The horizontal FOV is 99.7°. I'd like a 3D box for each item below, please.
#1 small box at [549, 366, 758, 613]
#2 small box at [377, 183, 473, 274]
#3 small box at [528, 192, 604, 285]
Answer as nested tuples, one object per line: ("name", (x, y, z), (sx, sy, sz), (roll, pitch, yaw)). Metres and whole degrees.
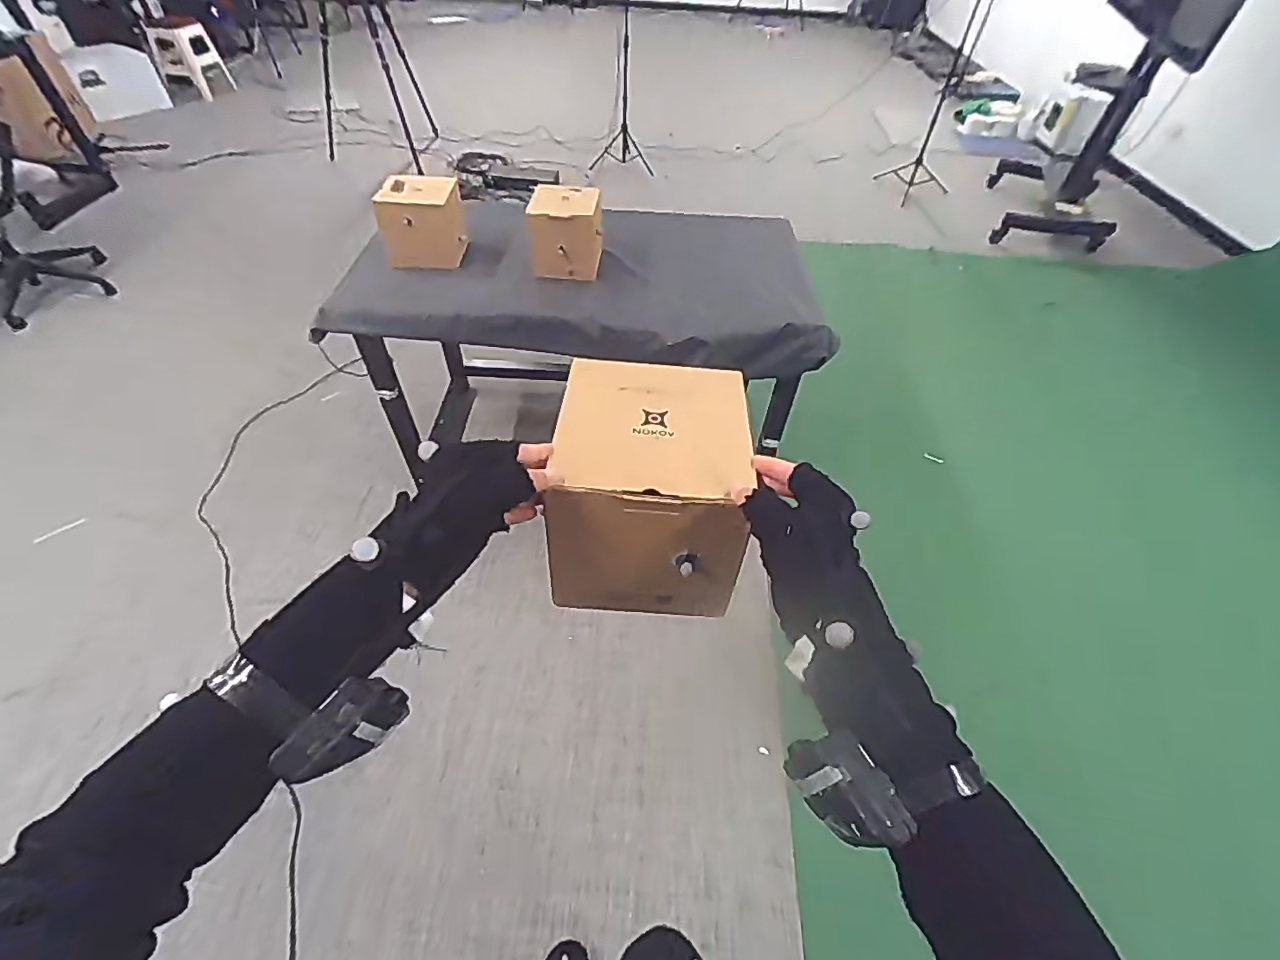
("small box", (0.011, 0.011, 0.528), (0.168, 0.176, 0.179), (5, 44, -1))
("small box", (-0.554, -0.656, 1.416), (0.179, 0.176, 0.168), (2, 49, -3))
("small box", (-0.185, -0.628, 1.413), (0.168, 0.176, 0.179), (4, 49, 1))
